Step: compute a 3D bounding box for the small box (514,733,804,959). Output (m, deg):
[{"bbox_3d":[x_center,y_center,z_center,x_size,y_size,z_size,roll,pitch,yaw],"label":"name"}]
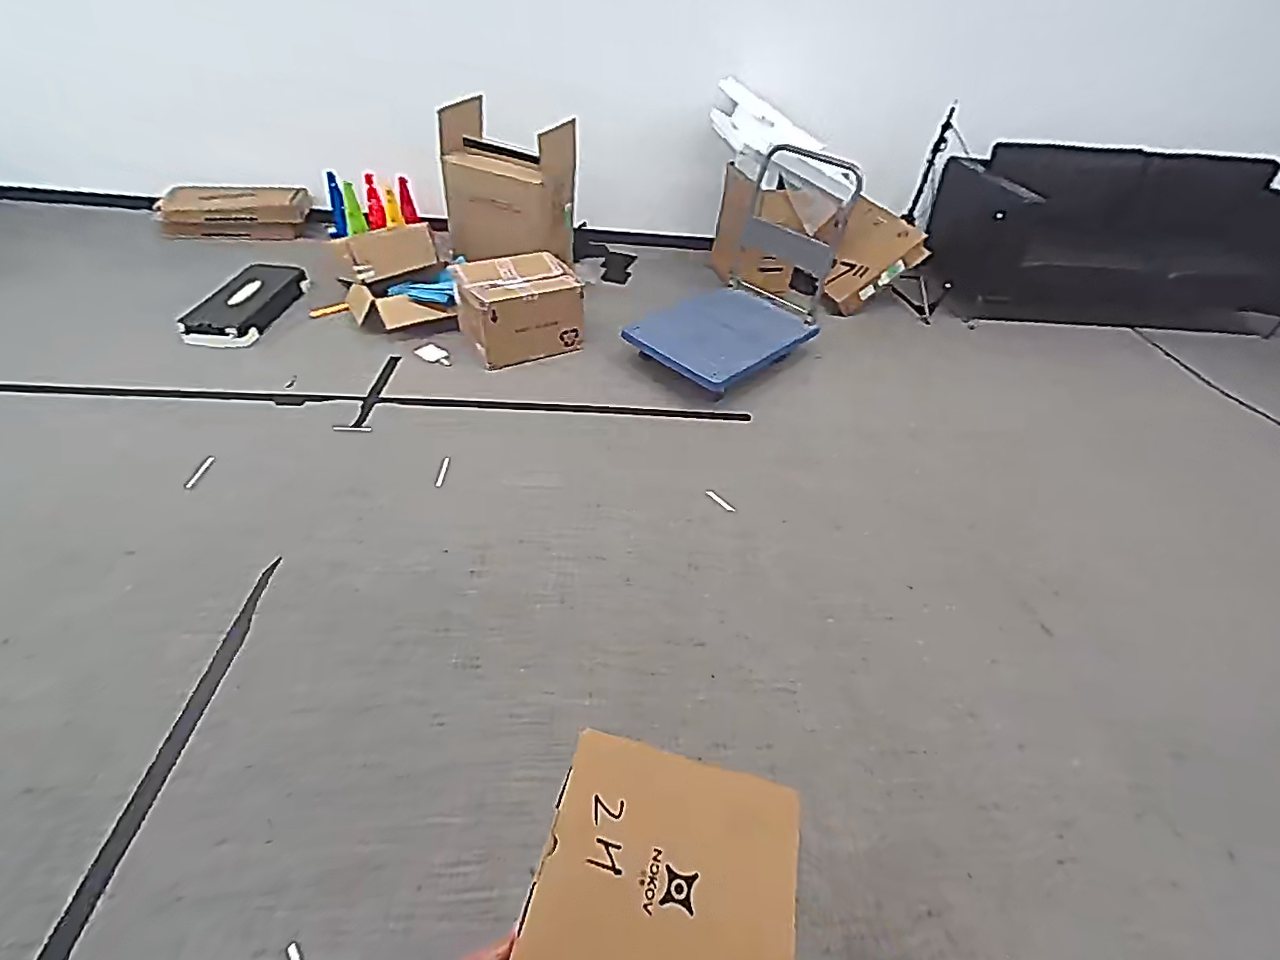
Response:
[{"bbox_3d":[0.013,0.329,0.419,0.179,0.176,0.168,13,46,6],"label":"small box"}]
